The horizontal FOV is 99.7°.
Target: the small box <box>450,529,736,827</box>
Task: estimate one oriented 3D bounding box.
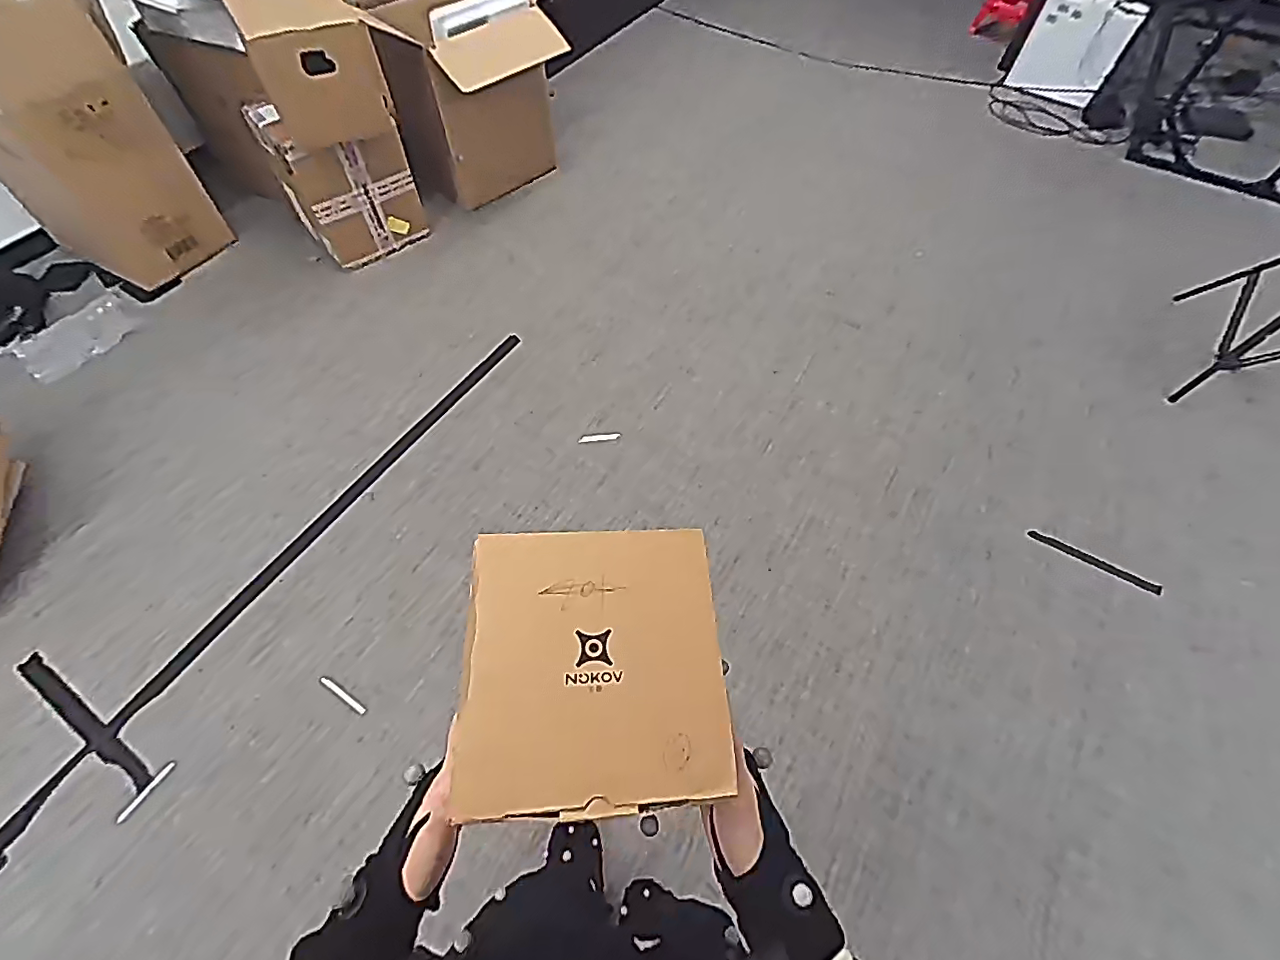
[{"bbox_3d":[-0.036,0.153,0.413,0.168,0.176,0.179,-1,58,-7],"label":"small box"}]
